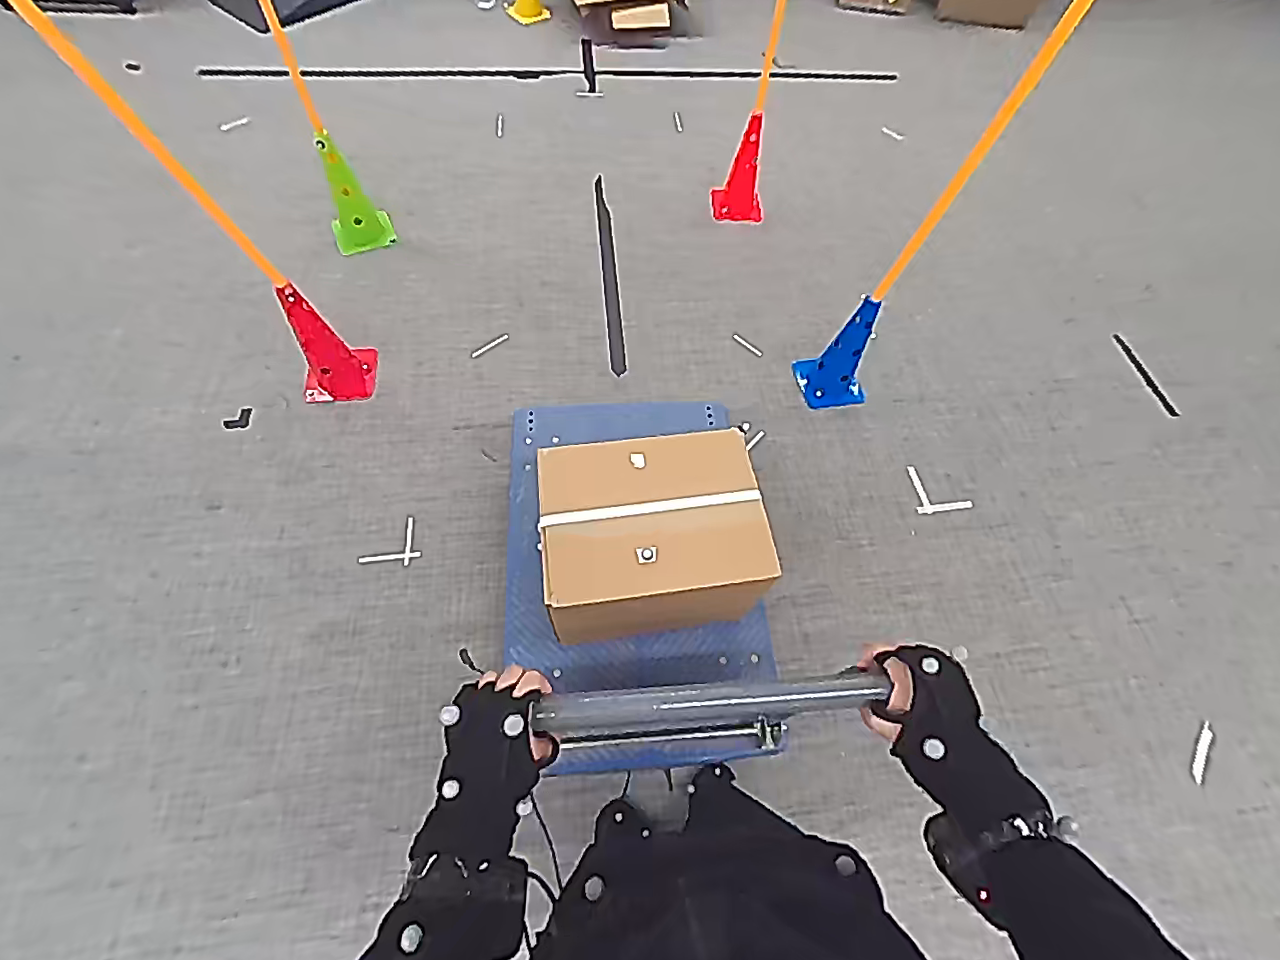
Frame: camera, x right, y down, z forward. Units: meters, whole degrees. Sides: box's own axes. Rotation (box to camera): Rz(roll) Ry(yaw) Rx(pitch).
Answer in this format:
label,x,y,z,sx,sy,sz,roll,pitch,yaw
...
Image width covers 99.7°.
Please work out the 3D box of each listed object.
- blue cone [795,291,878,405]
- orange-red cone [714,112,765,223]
label,x,y,z,sx,sy,sz,roll,pitch,yaw
blue cone,0.633,-0.408,1.646,0.193,0.380,0.192,-7,61,-8
orange-red cone,0.410,-1.195,2.047,0.199,0.360,0.198,2,62,-4
